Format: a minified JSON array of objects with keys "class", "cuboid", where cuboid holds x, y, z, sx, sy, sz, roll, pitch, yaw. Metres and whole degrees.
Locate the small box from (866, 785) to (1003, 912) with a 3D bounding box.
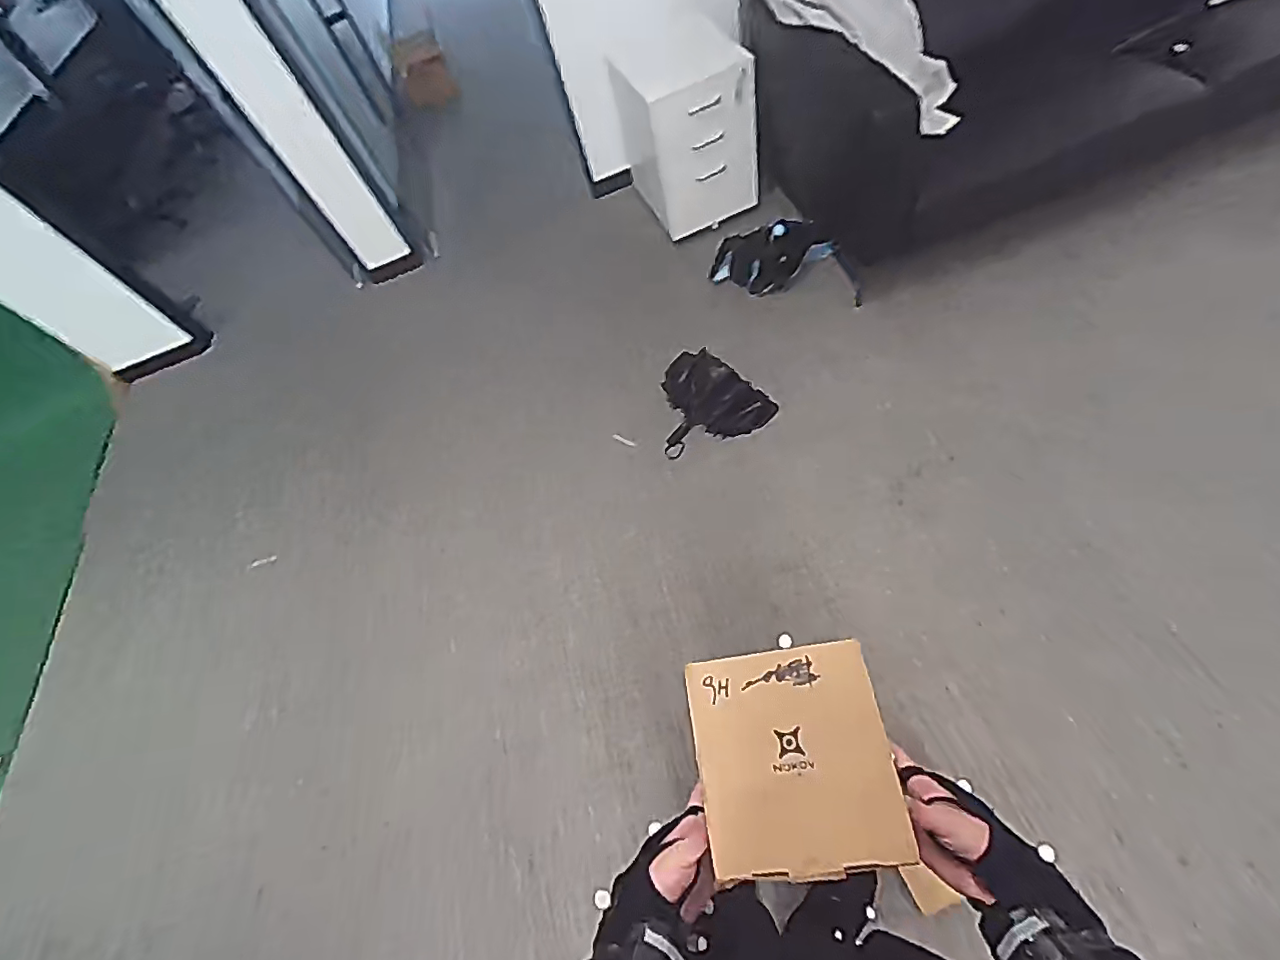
[{"class":"small box","cuboid":[0.597,0.756,1.127,0.179,0.176,0.168,-25,57,1]}]
